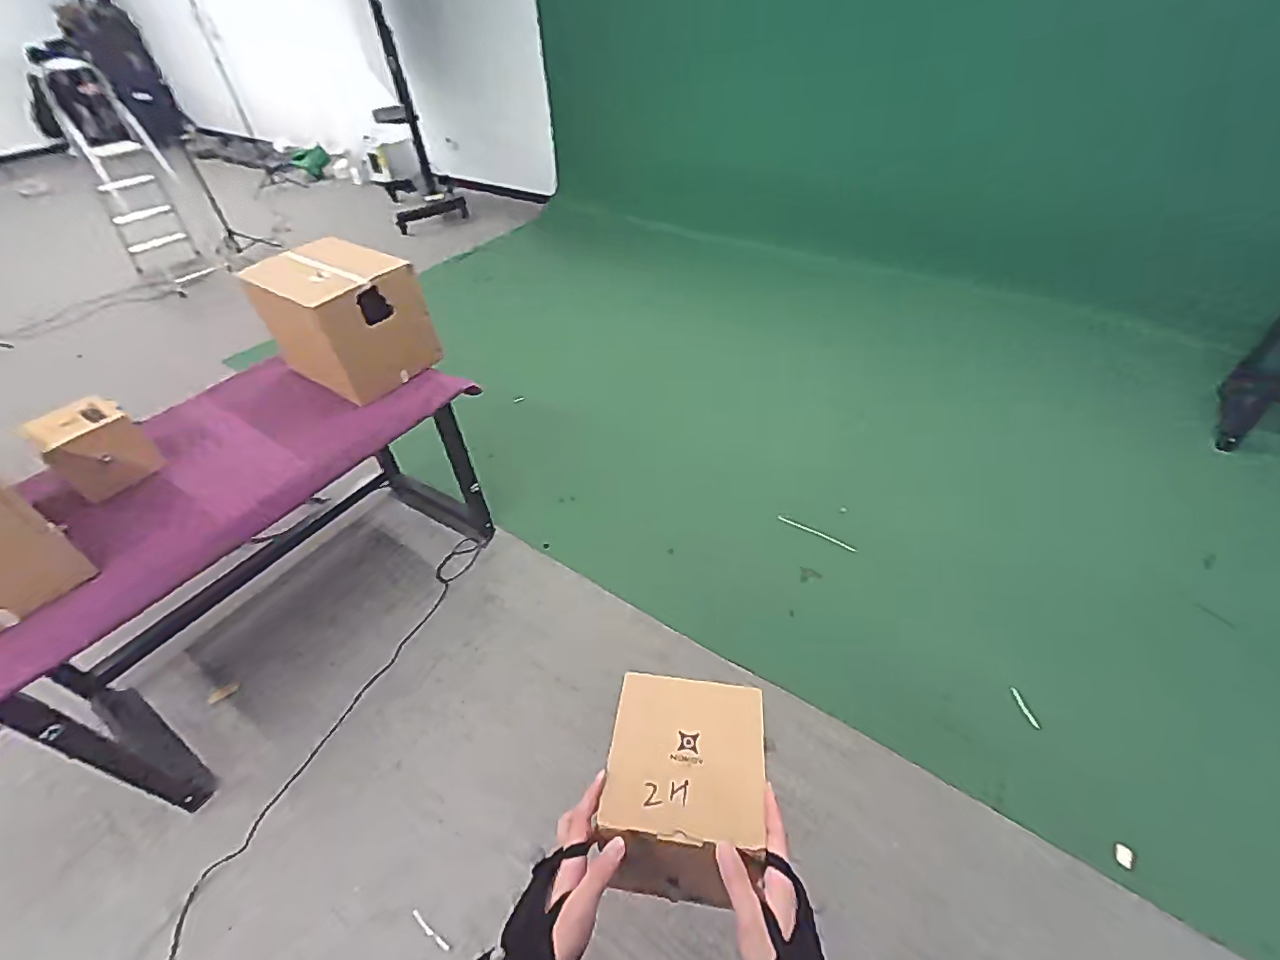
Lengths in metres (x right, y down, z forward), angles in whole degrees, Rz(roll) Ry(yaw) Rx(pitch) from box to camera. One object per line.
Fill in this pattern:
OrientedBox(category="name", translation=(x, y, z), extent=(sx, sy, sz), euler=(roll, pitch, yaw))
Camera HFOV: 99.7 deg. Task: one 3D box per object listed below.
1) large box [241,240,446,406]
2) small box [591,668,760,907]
OrientedBox(category="large box", translation=(-0.864, -0.475, 1.613), extent=(0.408, 0.320, 0.320), euler=(25, 52, 25))
OrientedBox(category="small box", translation=(0.045, 0.350, 0.626), extent=(0.168, 0.176, 0.179), euler=(4, 37, 8))
